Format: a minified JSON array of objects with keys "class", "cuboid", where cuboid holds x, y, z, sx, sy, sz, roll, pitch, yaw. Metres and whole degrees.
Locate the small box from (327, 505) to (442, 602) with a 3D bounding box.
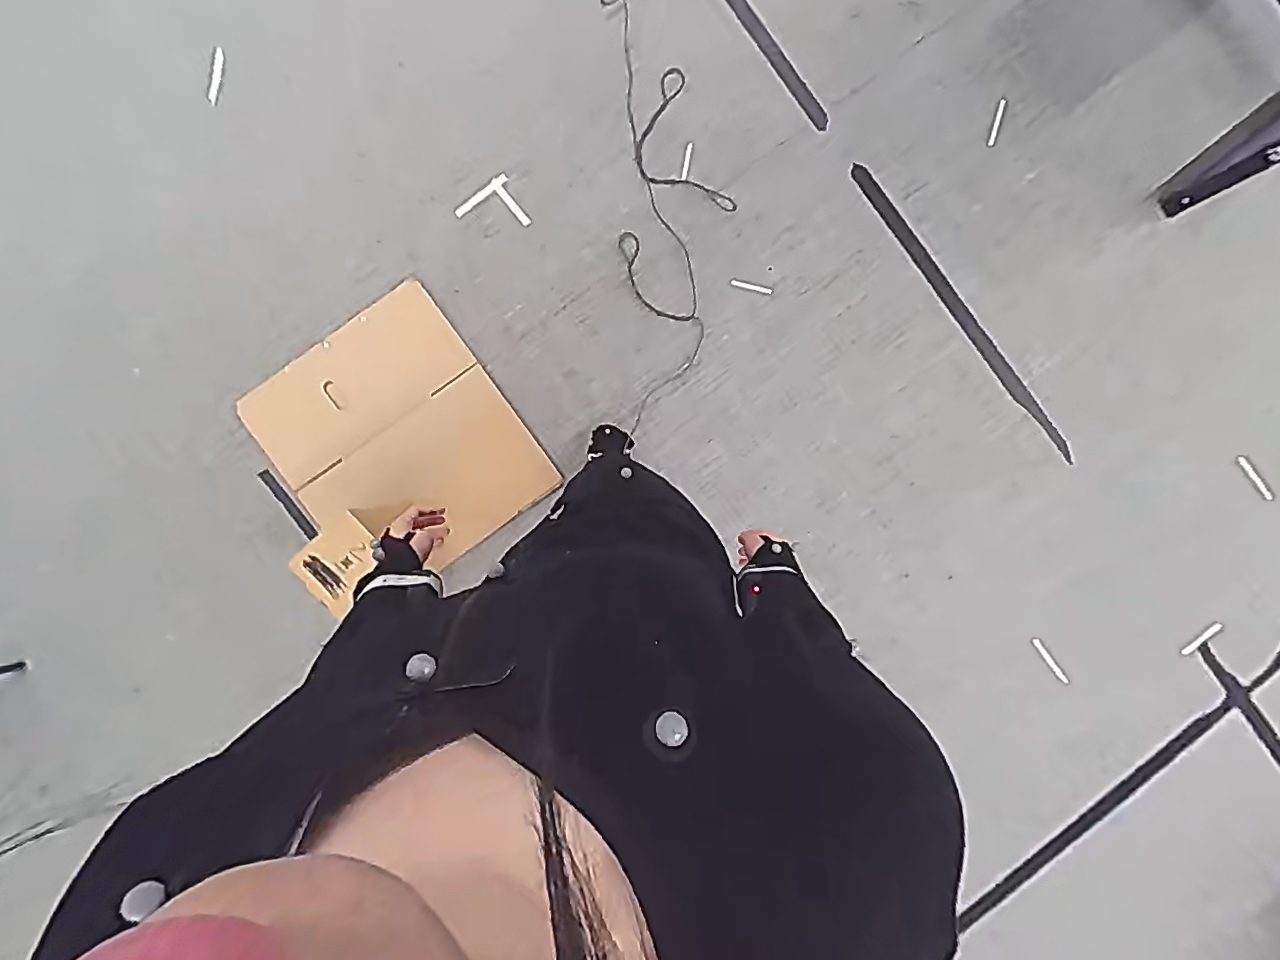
[{"class":"small box","cuboid":[-0.641,0.180,1.383,0.168,0.176,0.179,44,88,-2]}]
